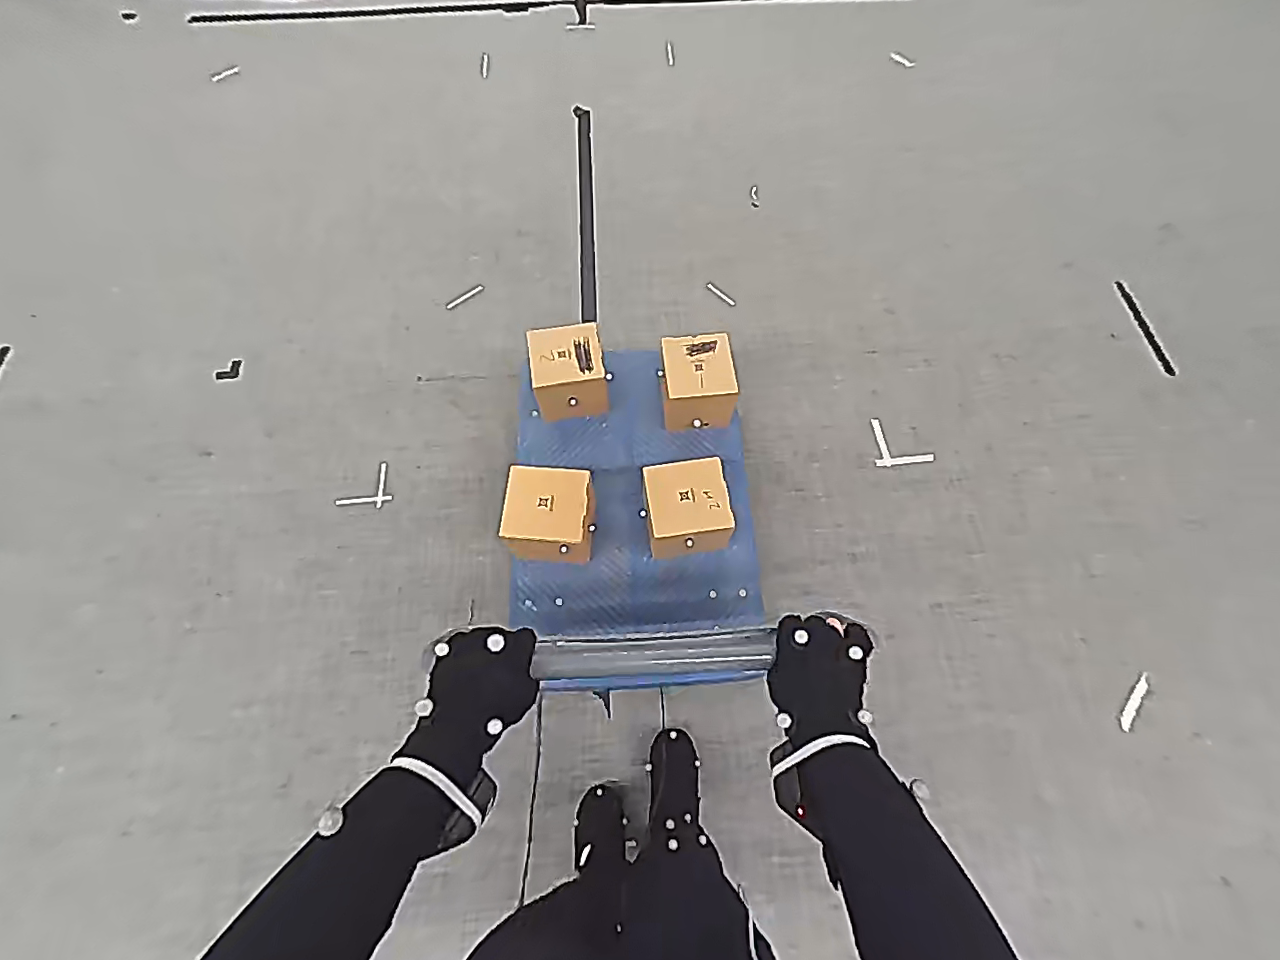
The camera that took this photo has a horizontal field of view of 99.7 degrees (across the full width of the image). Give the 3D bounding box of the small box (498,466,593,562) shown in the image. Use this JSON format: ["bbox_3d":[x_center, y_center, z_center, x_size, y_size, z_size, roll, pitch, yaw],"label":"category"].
[{"bbox_3d":[-0.203,0.081,1.219,0.179,0.176,0.168,4,66,0],"label":"small box"}]

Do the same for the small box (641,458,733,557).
[{"bbox_3d":[0.101,0.069,1.225,0.179,0.176,0.168,-7,67,-3],"label":"small box"}]

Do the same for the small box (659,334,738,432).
[{"bbox_3d":[0.139,-0.241,1.359,0.168,0.176,0.179,-5,68,-2],"label":"small box"}]
